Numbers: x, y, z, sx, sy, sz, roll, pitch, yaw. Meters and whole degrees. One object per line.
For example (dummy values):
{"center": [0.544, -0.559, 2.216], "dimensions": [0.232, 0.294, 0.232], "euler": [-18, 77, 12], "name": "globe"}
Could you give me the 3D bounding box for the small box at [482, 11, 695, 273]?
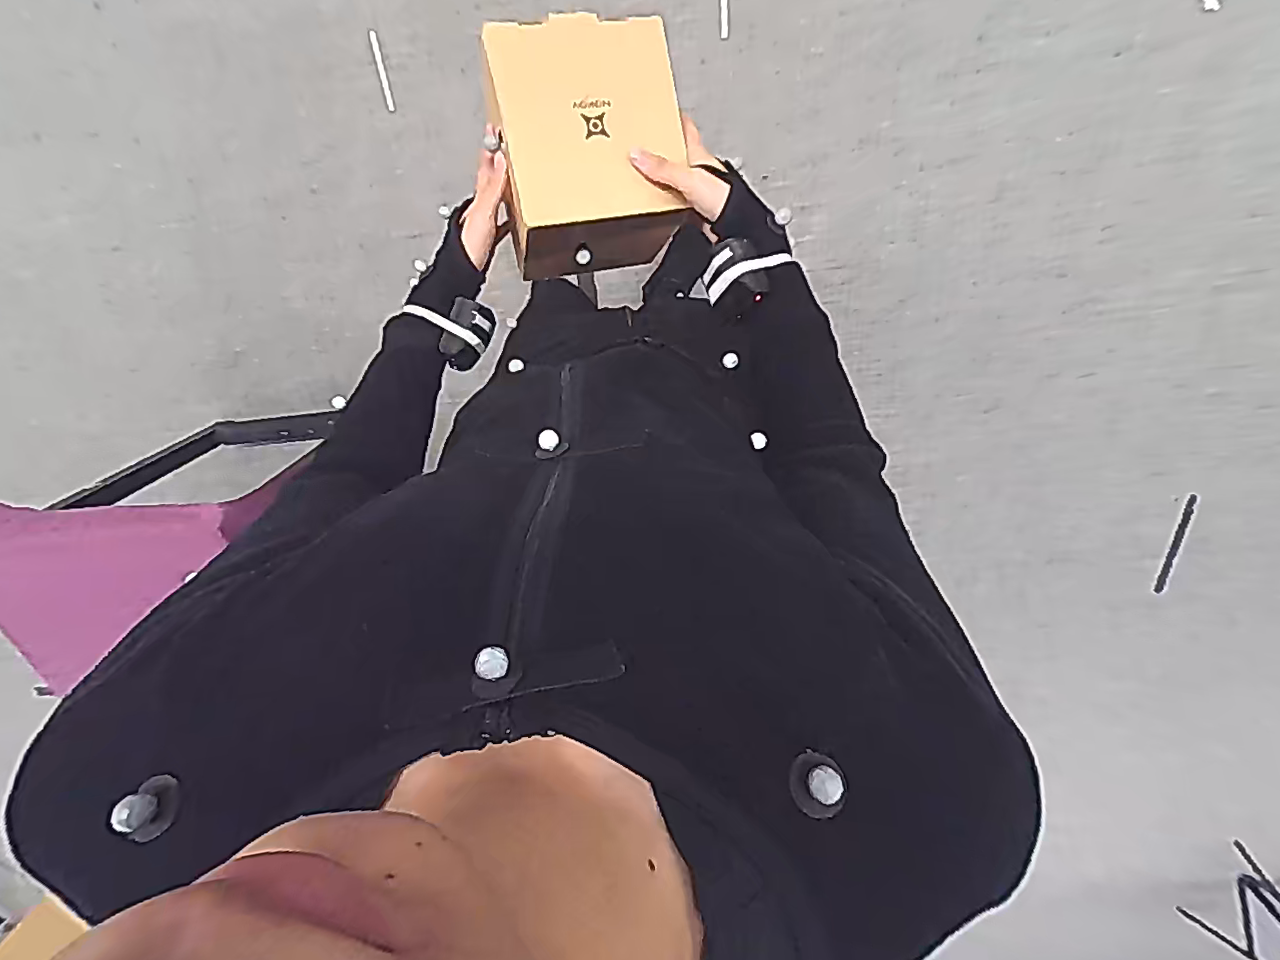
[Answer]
{"center": [-0.058, -0.328, 0.561], "dimensions": [0.168, 0.176, 0.179], "euler": [-13, 95, -12], "name": "small box"}
